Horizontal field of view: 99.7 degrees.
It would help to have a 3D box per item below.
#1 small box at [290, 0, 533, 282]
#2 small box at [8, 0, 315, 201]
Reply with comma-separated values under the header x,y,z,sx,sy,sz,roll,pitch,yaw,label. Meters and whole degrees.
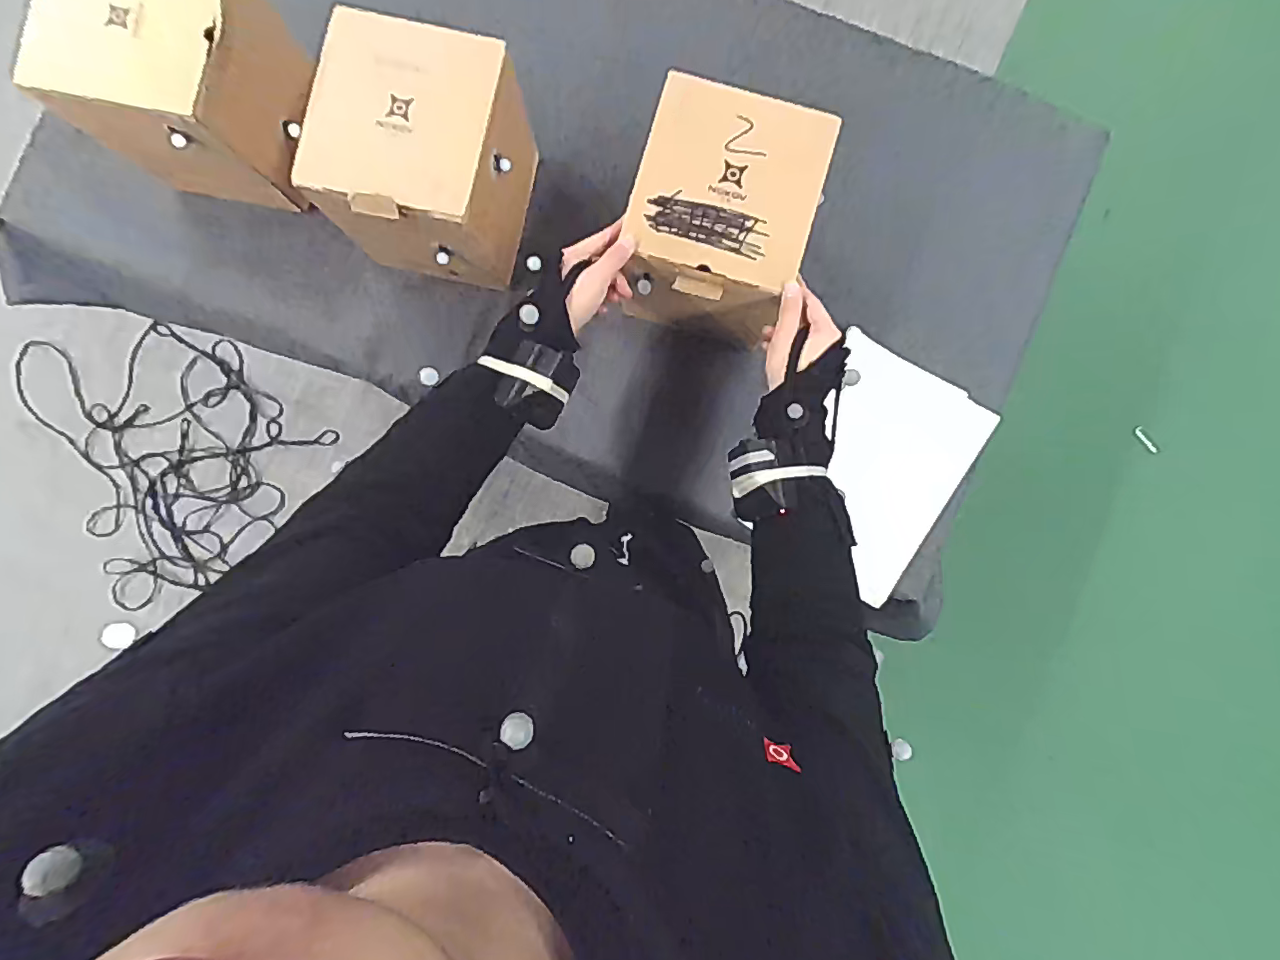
x,y,z,sx,sy,sz,roll,pitch,yaw,label
-0.220,-0.335,0.571,0.168,0.176,0.179,12,87,-1,small box
-0.476,-0.427,0.575,0.179,0.176,0.168,10,87,0,small box
